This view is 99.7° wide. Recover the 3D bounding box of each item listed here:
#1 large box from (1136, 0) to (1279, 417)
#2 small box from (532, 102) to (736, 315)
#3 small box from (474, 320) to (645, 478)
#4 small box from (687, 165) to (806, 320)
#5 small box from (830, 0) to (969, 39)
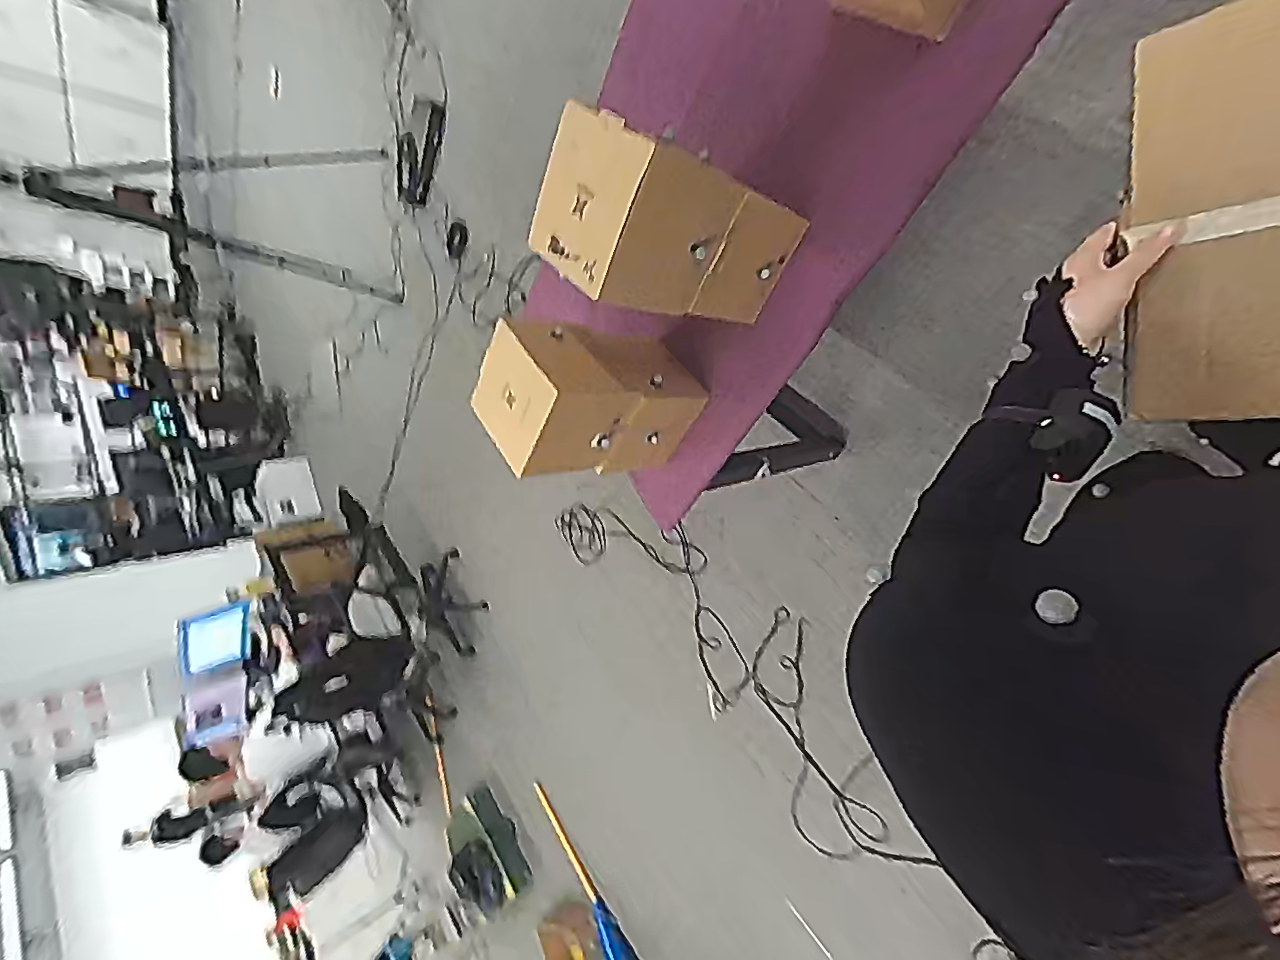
[{"bbox_3d":[0.666,-0.226,0.426,0.408,0.320,0.320,3,102,43],"label":"large box"},{"bbox_3d":[-0.004,-0.332,0.689,0.168,0.176,0.179,46,125,30],"label":"small box"},{"bbox_3d":[-0.126,-0.125,0.841,0.179,0.176,0.168,50,128,26],"label":"small box"},{"bbox_3d":[0.109,-0.354,0.807,0.179,0.176,0.168,46,126,29],"label":"small box"},{"bbox_3d":[0.290,-0.629,0.590,0.179,0.176,0.168,47,126,27],"label":"small box"}]
